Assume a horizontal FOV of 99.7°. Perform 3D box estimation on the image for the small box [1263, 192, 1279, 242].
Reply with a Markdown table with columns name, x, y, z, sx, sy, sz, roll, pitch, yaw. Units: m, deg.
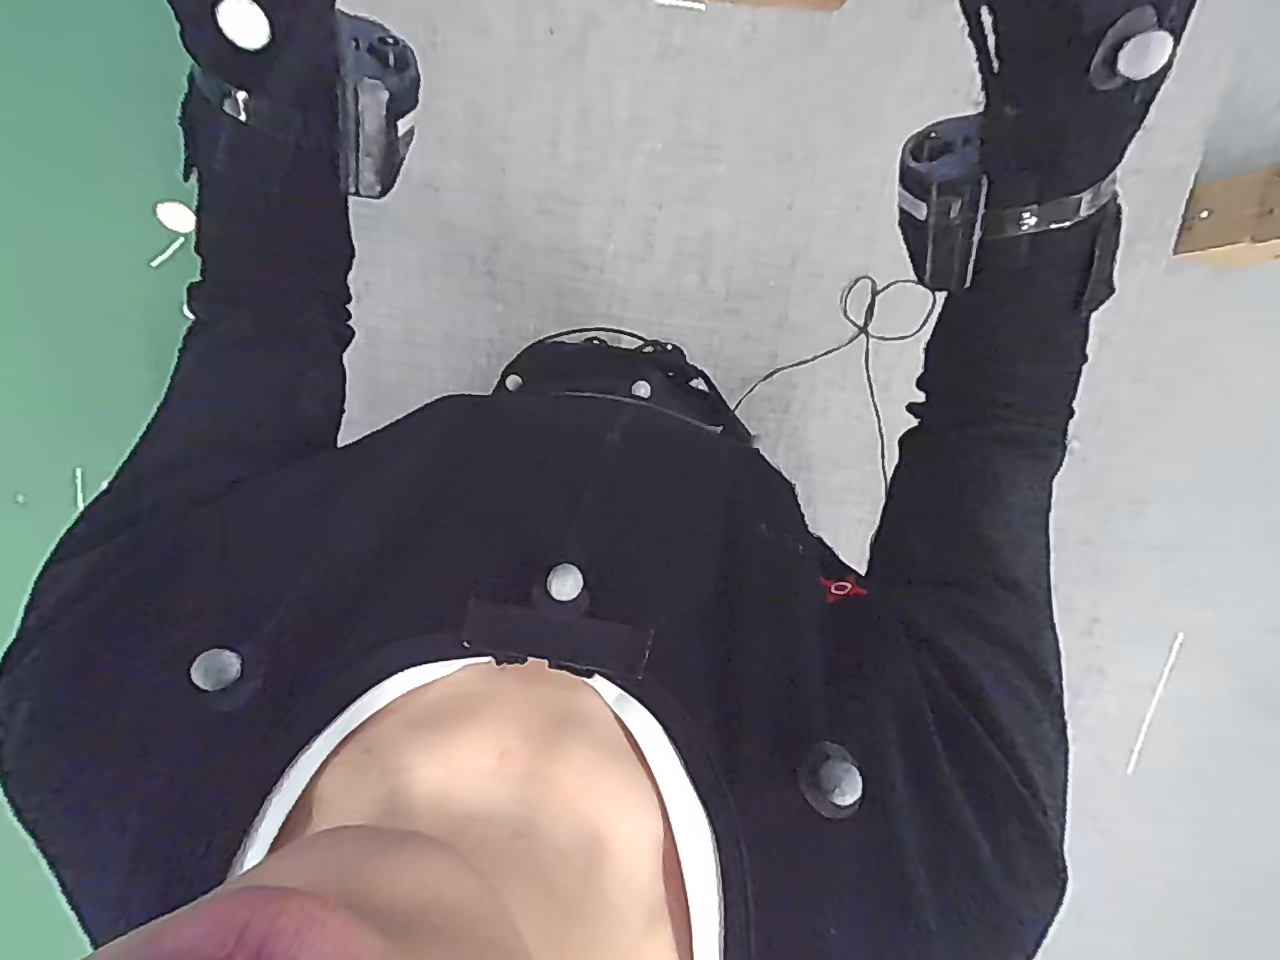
| name | x | y | z | sx | sy | sz | roll | pitch | yaw |
| --- | --- | --- | --- | --- | --- | --- | --- | --- | --- |
| small box | 1.397 | -0.557 | 1.045 | 0.179 | 0.176 | 0.168 | 7 | 104 | 0 |

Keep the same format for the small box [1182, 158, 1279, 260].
| name | x | y | z | sx | sy | sz | roll | pitch | yaw |
| --- | --- | --- | --- | --- | --- | --- | --- | --- | --- |
| small box | 1.395 | -0.597 | 1.205 | 0.179 | 0.176 | 0.168 | 8 | 103 | 0 |
